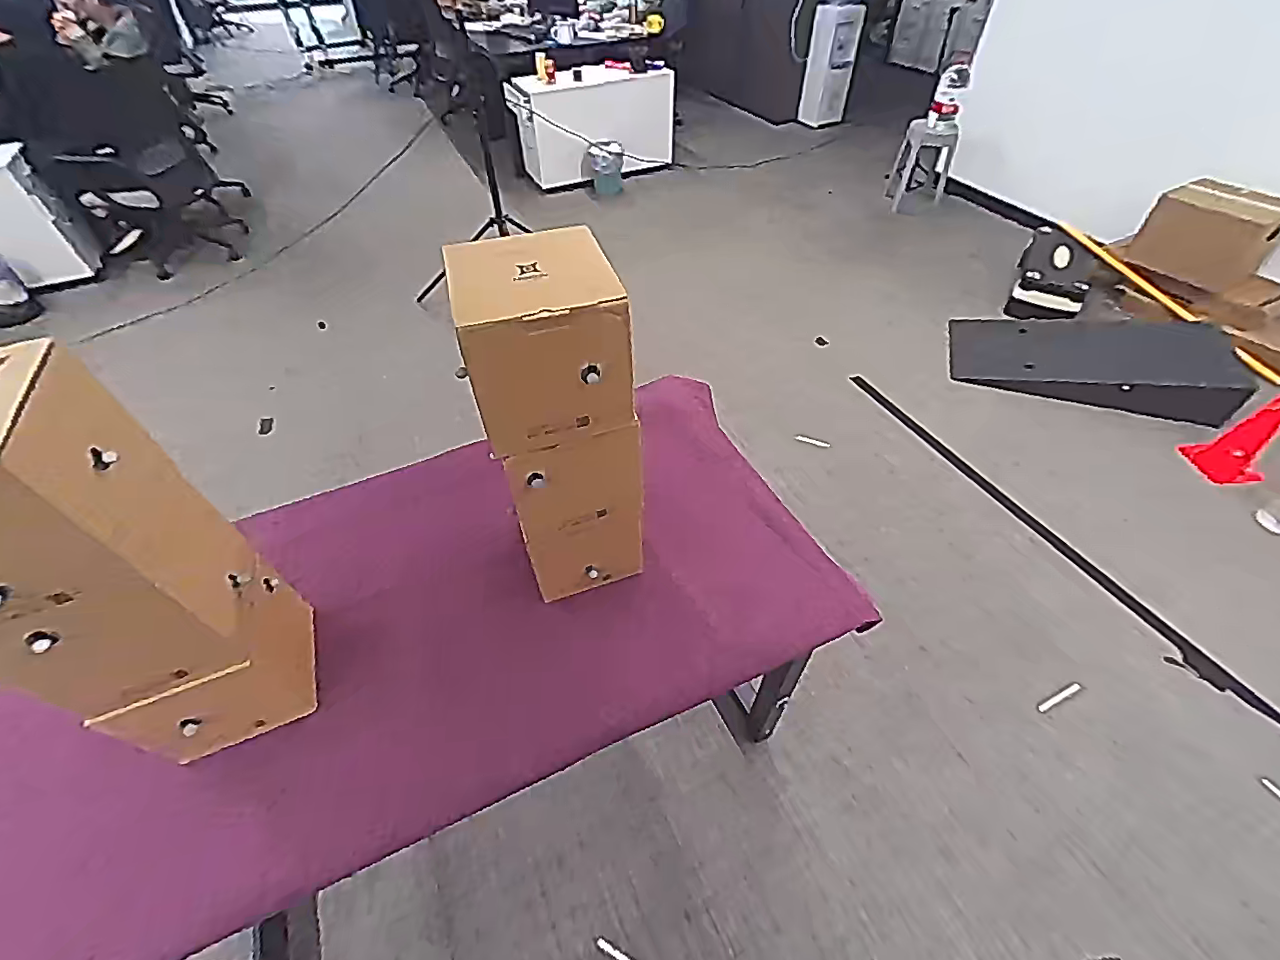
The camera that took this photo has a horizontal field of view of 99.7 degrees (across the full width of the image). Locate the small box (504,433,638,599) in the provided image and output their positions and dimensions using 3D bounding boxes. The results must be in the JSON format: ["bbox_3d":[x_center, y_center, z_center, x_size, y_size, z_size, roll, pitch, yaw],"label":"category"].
[{"bbox_3d":[-0.107,0.057,0.859,0.168,0.176,0.179,-16,50,-12],"label":"small box"}]

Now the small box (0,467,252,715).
[{"bbox_3d":[-0.560,0.120,0.593,0.168,0.176,0.179,-20,50,-16],"label":"small box"}]

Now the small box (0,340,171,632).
[{"bbox_3d":[-0.558,0.010,0.470,0.168,0.176,0.179,-19,51,-15],"label":"small box"}]

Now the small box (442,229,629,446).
[{"bbox_3d":[-0.113,-0.156,0.611,0.168,0.176,0.179,-14,48,-12],"label":"small box"}]

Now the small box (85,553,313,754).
[{"bbox_3d":[-0.554,0.234,0.711,0.168,0.176,0.179,-19,50,-15],"label":"small box"}]
